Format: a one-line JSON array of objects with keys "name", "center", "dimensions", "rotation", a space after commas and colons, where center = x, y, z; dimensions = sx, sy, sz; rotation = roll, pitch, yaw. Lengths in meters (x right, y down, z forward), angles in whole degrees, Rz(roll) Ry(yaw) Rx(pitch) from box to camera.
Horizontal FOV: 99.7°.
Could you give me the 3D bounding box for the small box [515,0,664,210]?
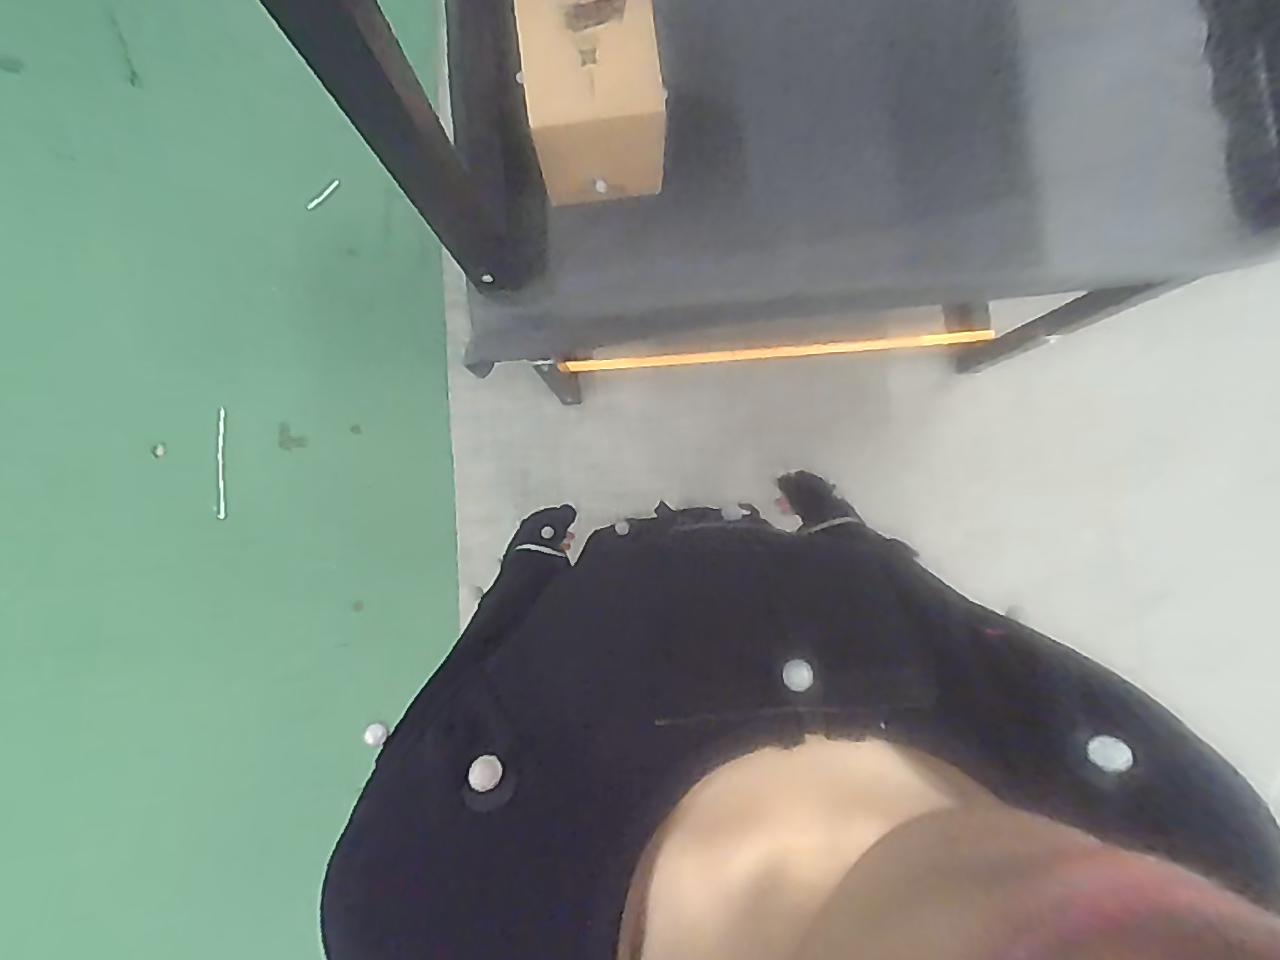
[{"name": "small box", "center": [-0.061, -0.499, 0.726], "dimensions": [0.168, 0.176, 0.179], "rotation": [-7, 86, 1]}]
